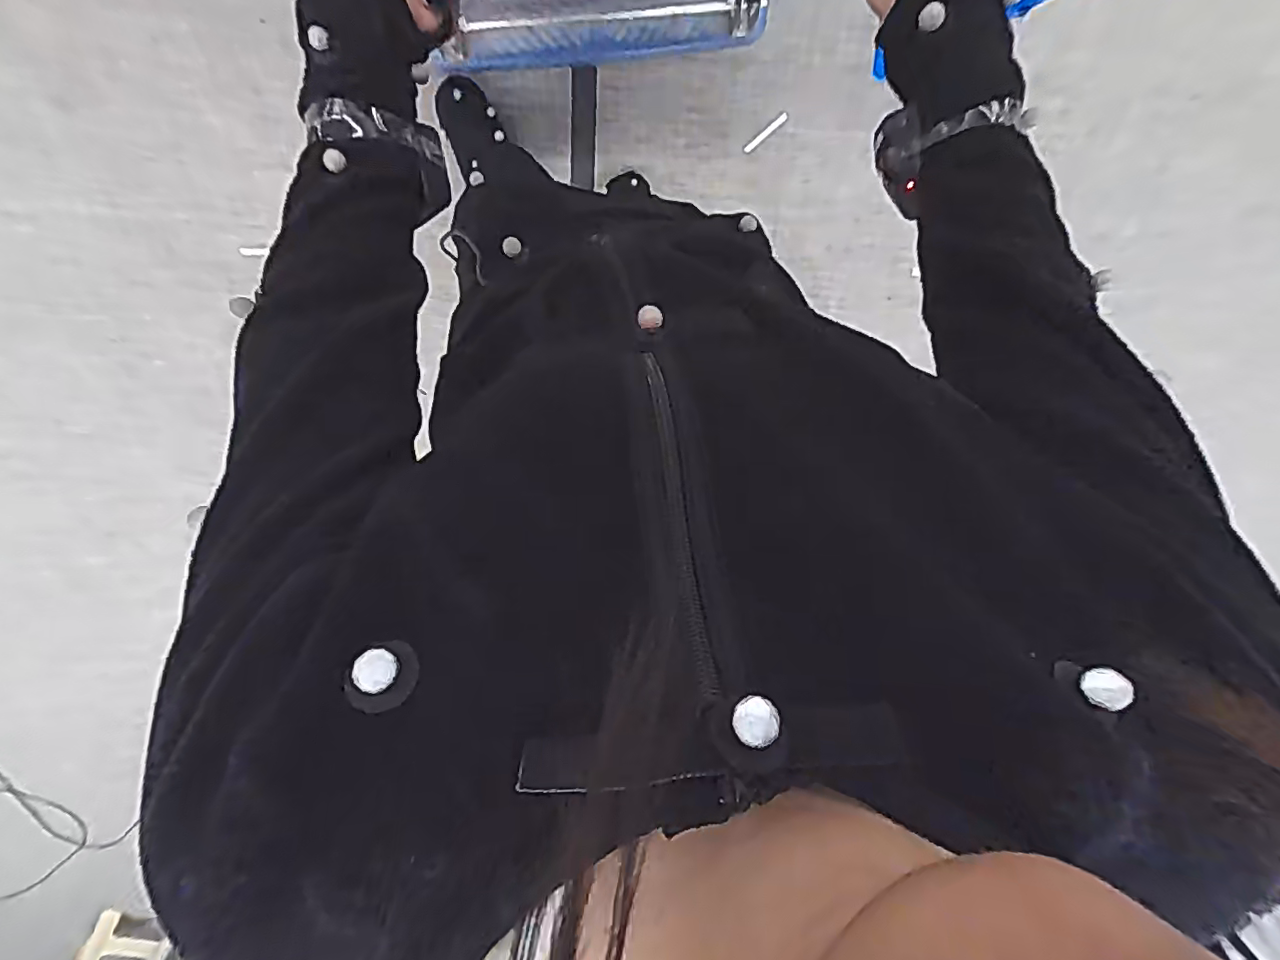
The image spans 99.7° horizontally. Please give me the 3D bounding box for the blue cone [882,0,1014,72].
[{"bbox_3d":[0.601,-0.845,0.933,0.193,0.380,0.192,-4,121,-6],"label":"blue cone"}]
